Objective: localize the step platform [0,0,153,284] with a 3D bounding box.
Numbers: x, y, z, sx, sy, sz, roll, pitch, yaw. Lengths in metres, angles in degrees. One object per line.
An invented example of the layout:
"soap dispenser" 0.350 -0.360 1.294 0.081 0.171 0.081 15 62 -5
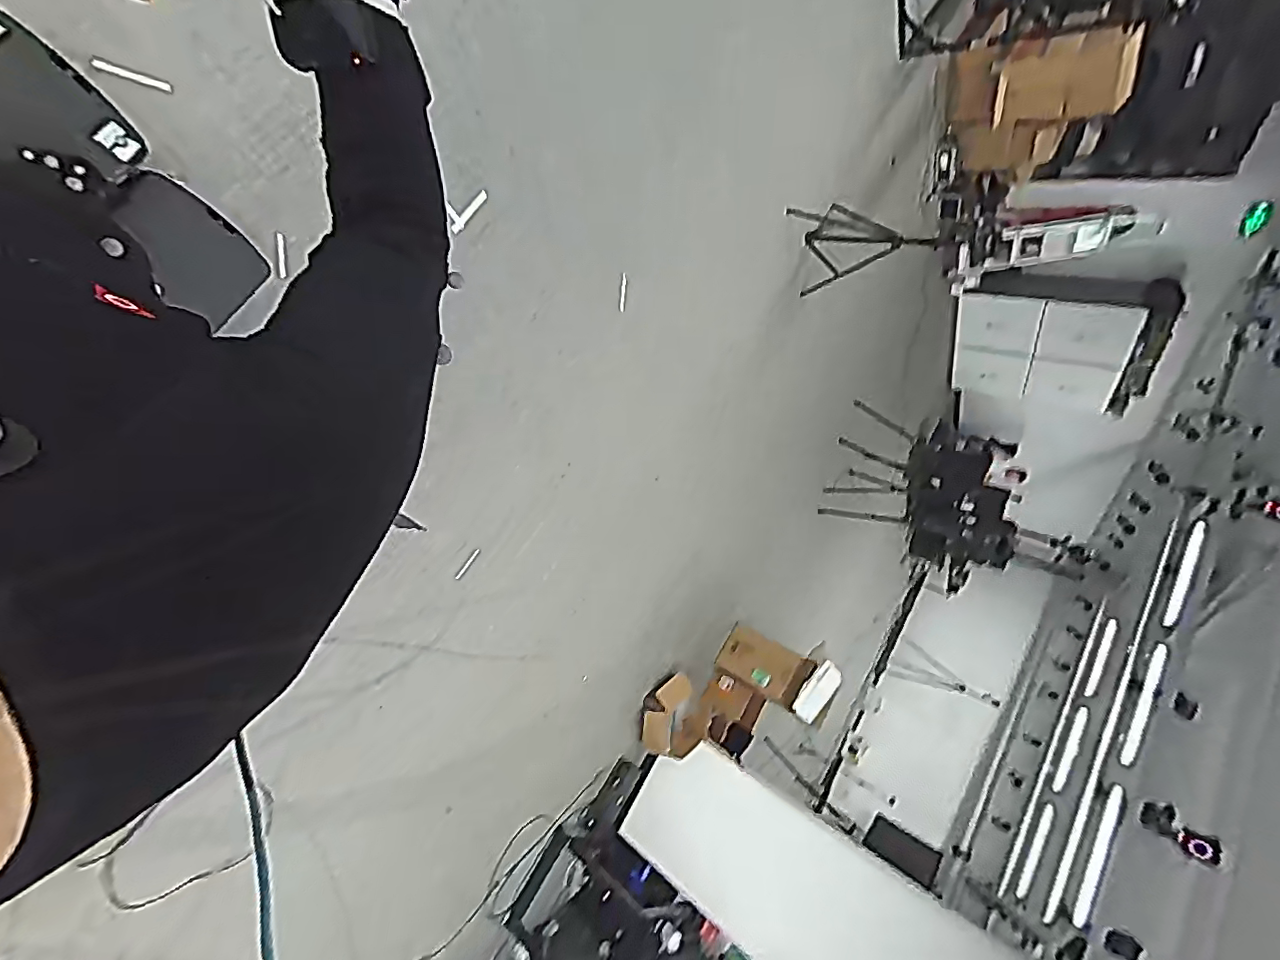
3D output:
"step platform" -1.209 -0.507 0.916 0.684 0.204 0.286 -59 143 -14
